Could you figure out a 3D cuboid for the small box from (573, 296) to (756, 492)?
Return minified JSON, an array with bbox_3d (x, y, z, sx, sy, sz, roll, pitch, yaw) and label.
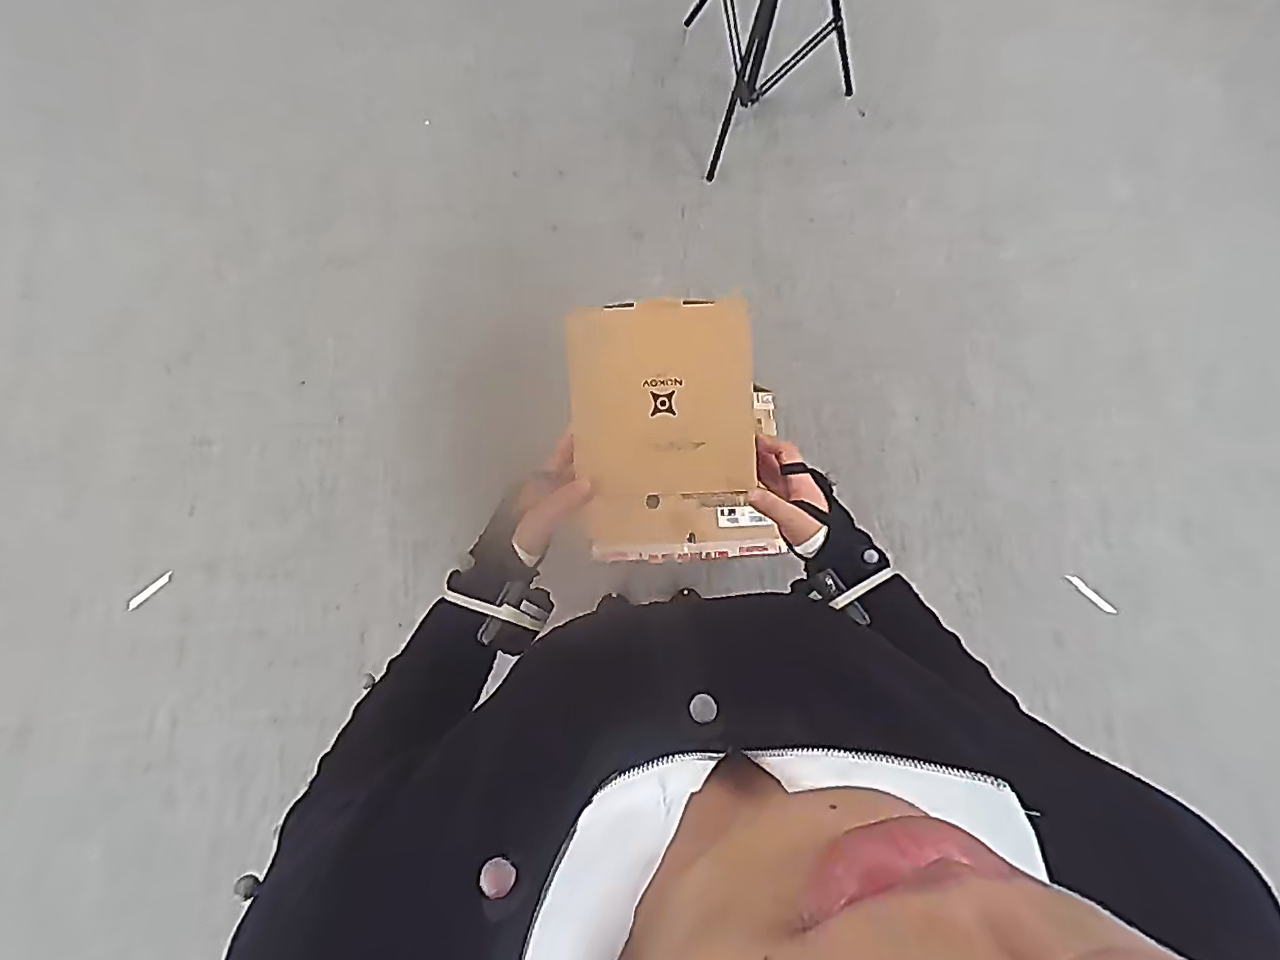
[{"bbox_3d":[0.022,-0.077,0.565,0.168,0.176,0.179,-2,91,1],"label":"small box"}]
